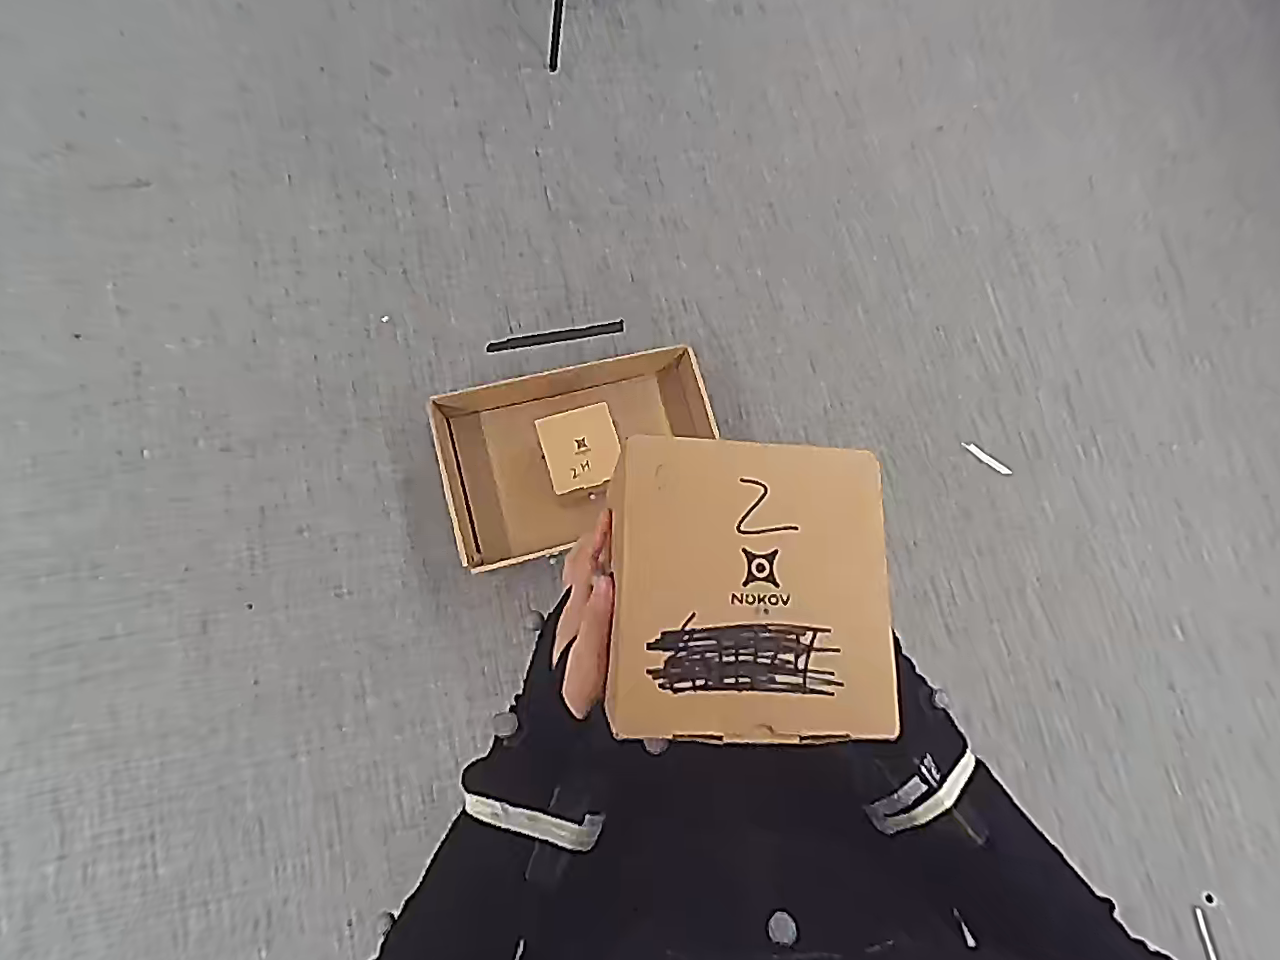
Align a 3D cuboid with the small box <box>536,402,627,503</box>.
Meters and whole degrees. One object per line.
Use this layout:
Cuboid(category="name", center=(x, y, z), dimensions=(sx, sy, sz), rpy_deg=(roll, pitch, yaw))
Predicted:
Cuboid(category="small box", center=(-0.139, -0.059, 1.253), dimensions=(0.168, 0.176, 0.179), rpy_deg=(-16, 83, -10))
